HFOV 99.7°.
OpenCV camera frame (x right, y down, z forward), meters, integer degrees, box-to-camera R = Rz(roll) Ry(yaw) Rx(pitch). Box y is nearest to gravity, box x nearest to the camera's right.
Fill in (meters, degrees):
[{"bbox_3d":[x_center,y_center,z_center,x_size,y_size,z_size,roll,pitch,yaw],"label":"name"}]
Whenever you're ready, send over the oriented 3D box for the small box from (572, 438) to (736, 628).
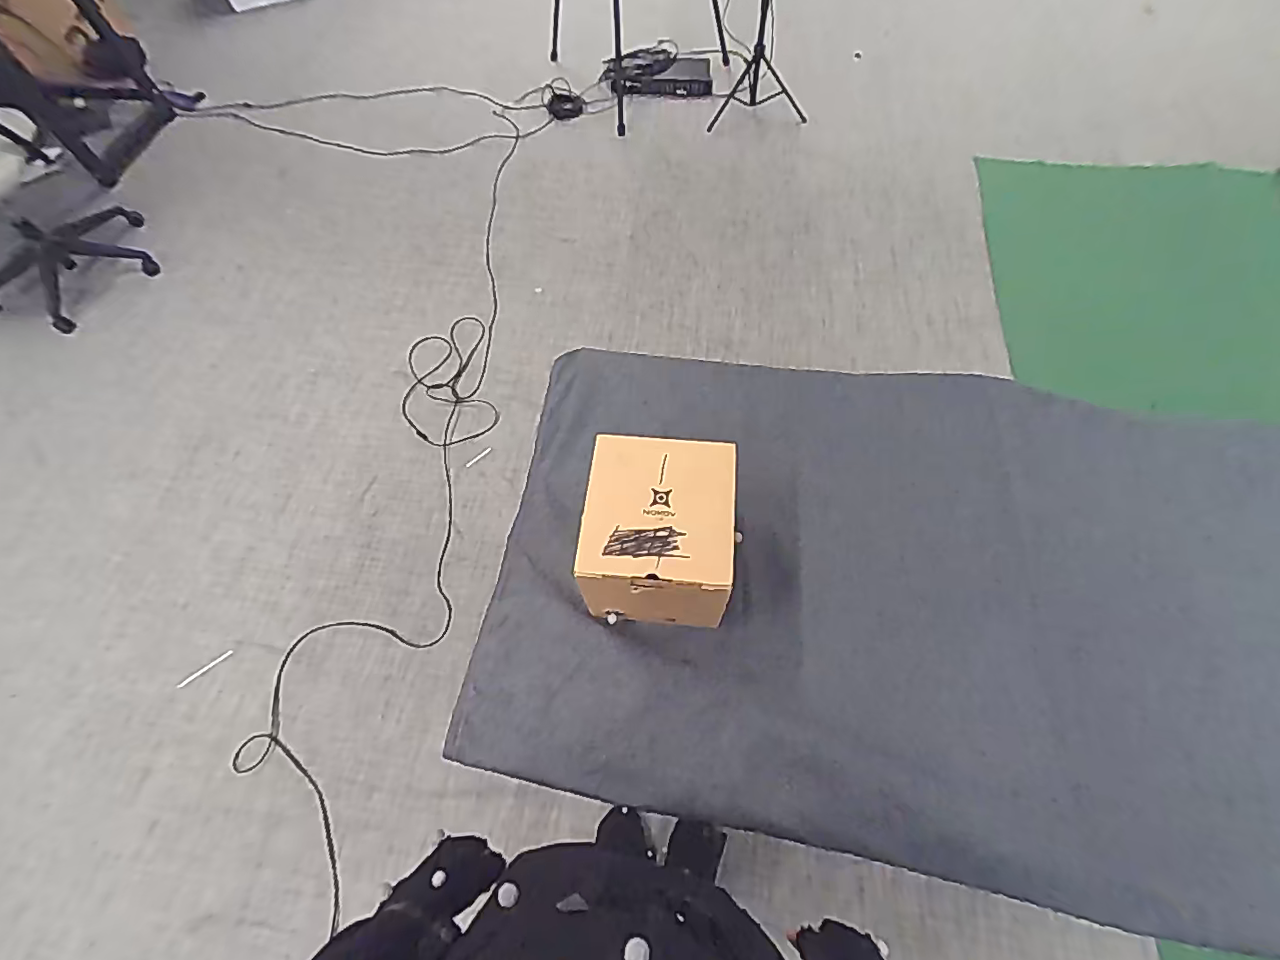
[{"bbox_3d":[0.024,0.070,0.655,0.168,0.176,0.179,4,60,5],"label":"small box"}]
